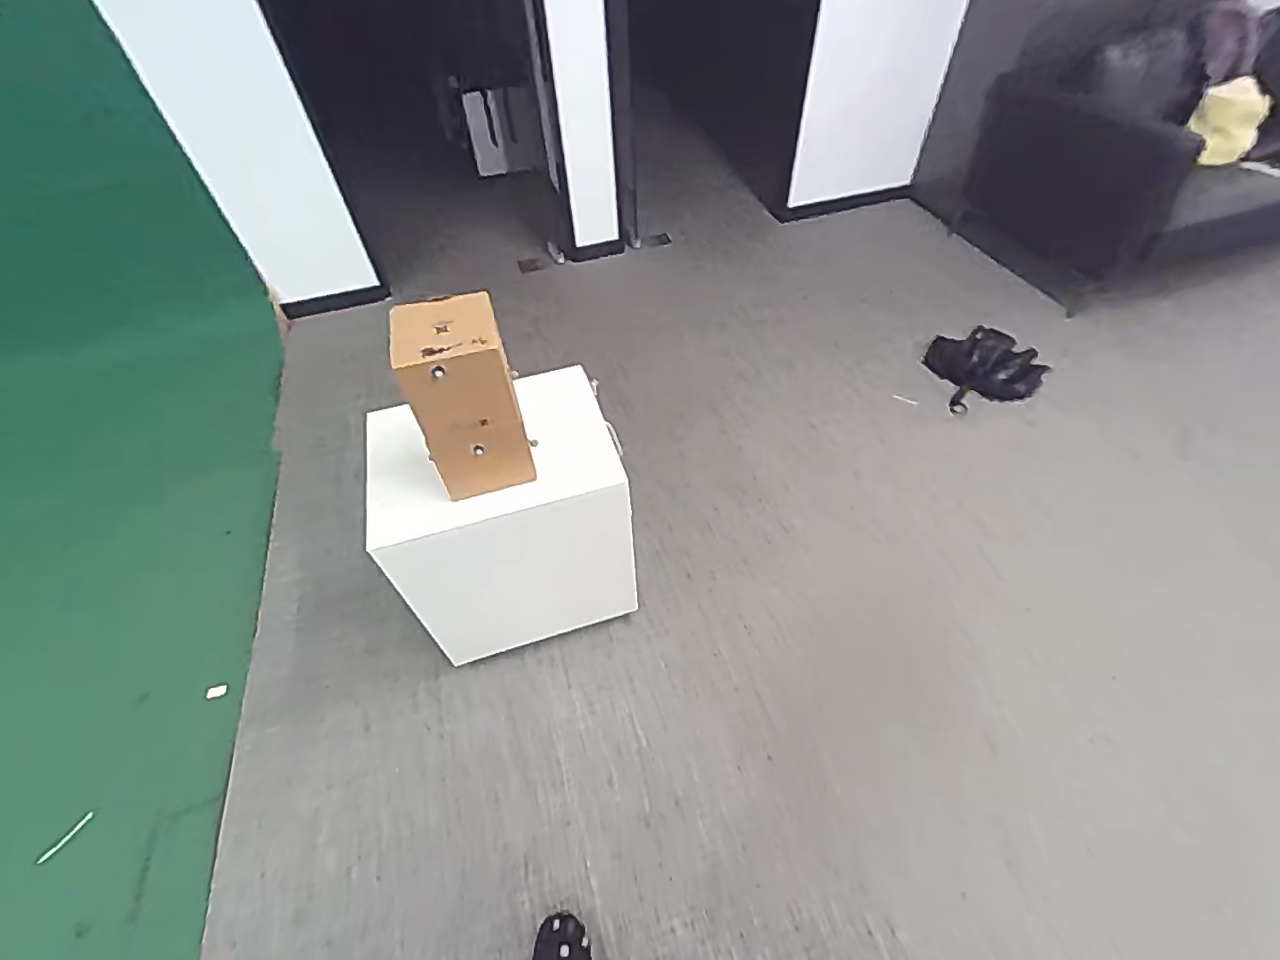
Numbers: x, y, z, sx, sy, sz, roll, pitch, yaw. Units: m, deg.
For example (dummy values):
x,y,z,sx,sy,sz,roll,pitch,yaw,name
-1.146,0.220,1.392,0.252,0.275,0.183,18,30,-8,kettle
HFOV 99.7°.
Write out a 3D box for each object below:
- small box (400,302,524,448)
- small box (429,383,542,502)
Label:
x,y,z,sx,sy,sz,roll,pitch,yaw,name
-0.312,-0.186,0.959,0.168,0.176,0.179,-16,51,-12,small box
-0.308,-0.078,1.079,0.179,0.176,0.168,-15,51,-11,small box
